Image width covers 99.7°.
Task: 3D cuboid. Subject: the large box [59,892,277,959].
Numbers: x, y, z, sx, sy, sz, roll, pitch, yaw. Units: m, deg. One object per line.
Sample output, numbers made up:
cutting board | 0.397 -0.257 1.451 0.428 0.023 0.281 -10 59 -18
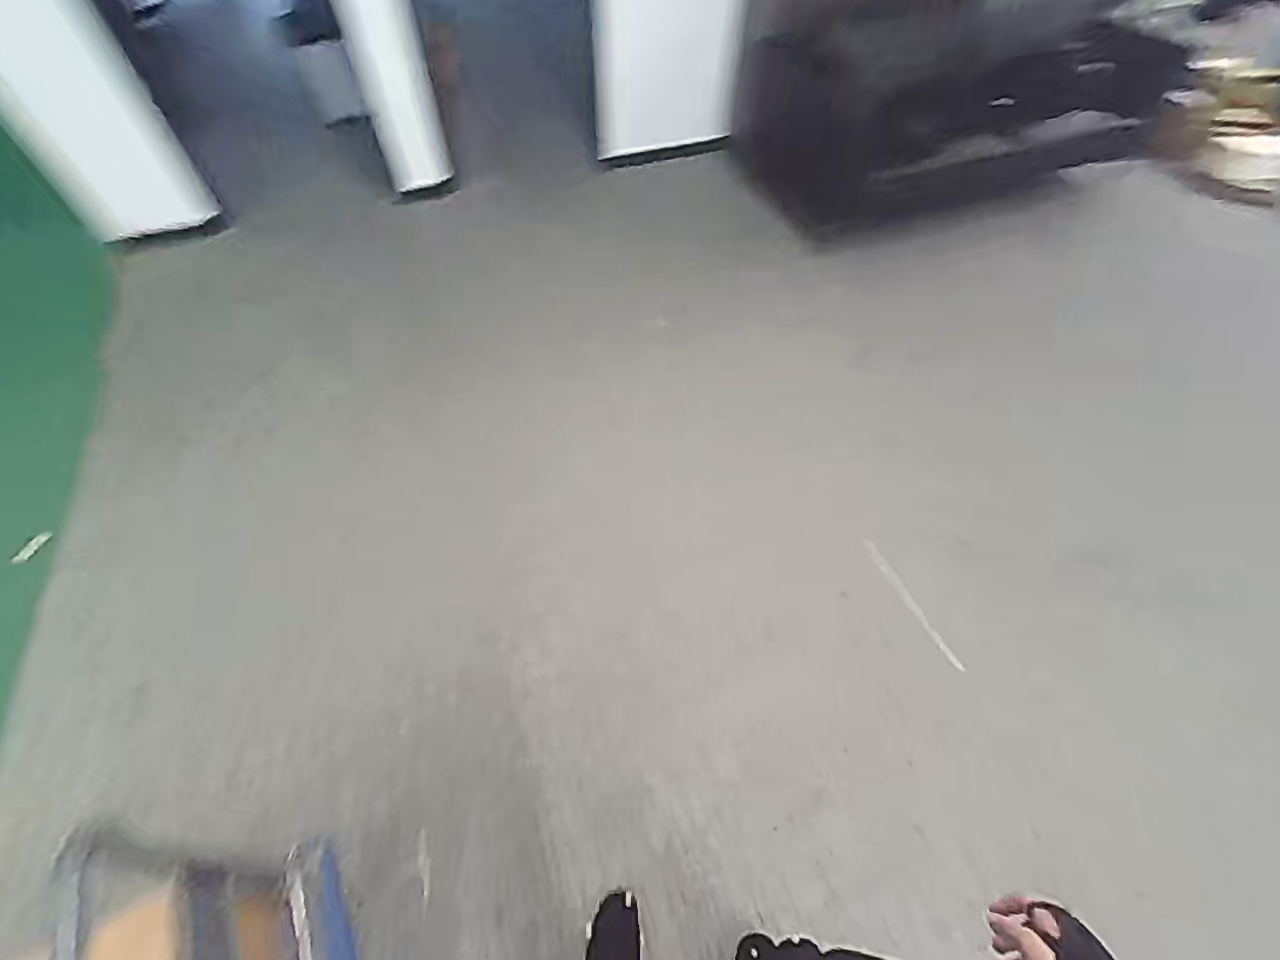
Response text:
large box | -0.849 0.943 0.850 0.408 0.320 0.320 -26 58 -19
